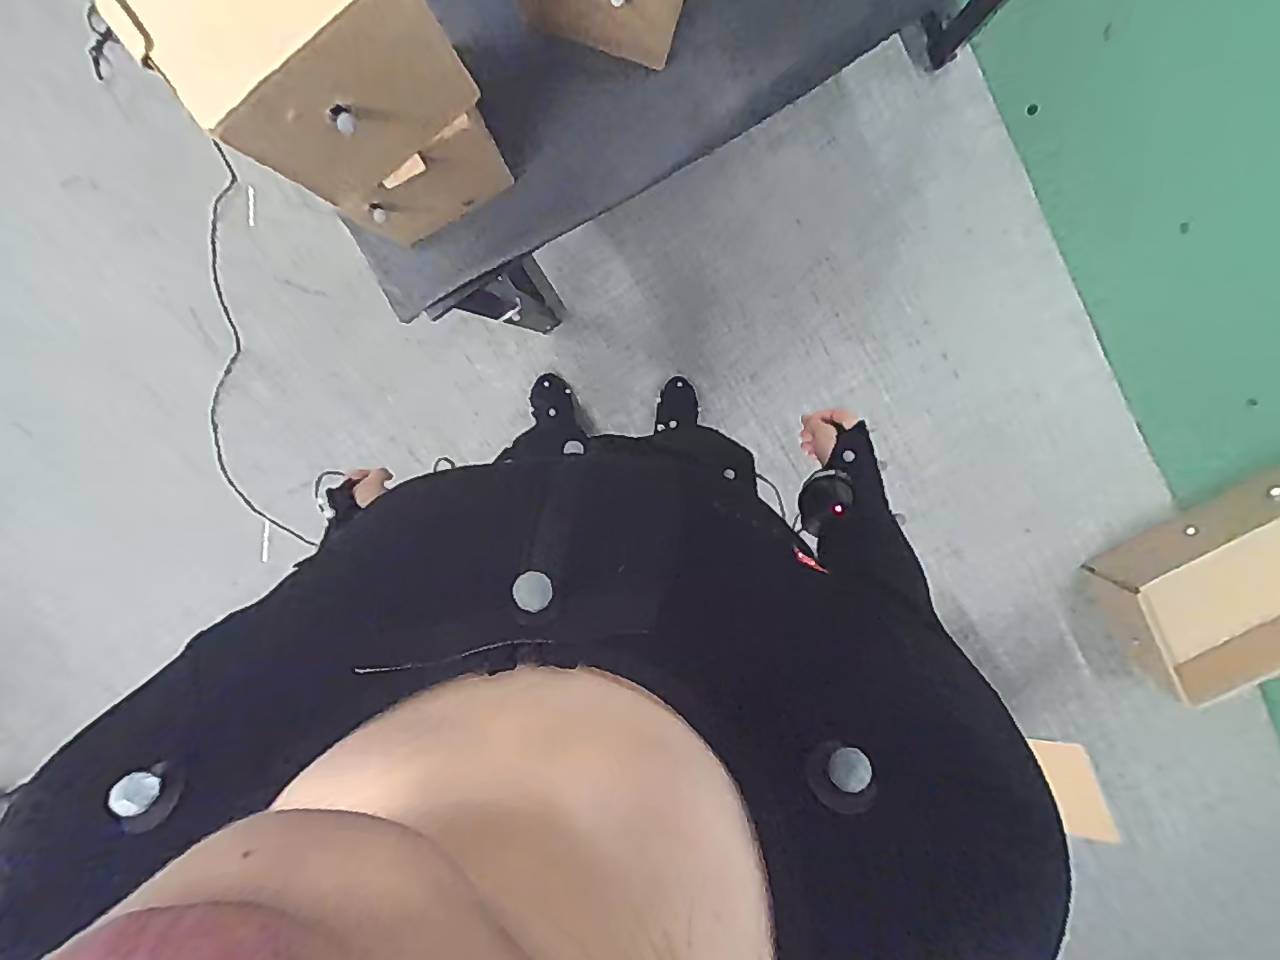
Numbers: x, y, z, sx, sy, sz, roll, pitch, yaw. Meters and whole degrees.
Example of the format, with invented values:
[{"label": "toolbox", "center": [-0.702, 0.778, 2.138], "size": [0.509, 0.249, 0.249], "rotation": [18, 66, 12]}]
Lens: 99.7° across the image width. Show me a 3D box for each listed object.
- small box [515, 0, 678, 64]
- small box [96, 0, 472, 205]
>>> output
[{"label": "small box", "center": [-0.034, -0.569, 0.545], "size": [0.179, 0.176, 0.168], "rotation": [17, 100, -2]}, {"label": "small box", "center": [-0.267, -0.356, 0.425], "size": [0.179, 0.176, 0.168], "rotation": [-35, 97, 7]}]
